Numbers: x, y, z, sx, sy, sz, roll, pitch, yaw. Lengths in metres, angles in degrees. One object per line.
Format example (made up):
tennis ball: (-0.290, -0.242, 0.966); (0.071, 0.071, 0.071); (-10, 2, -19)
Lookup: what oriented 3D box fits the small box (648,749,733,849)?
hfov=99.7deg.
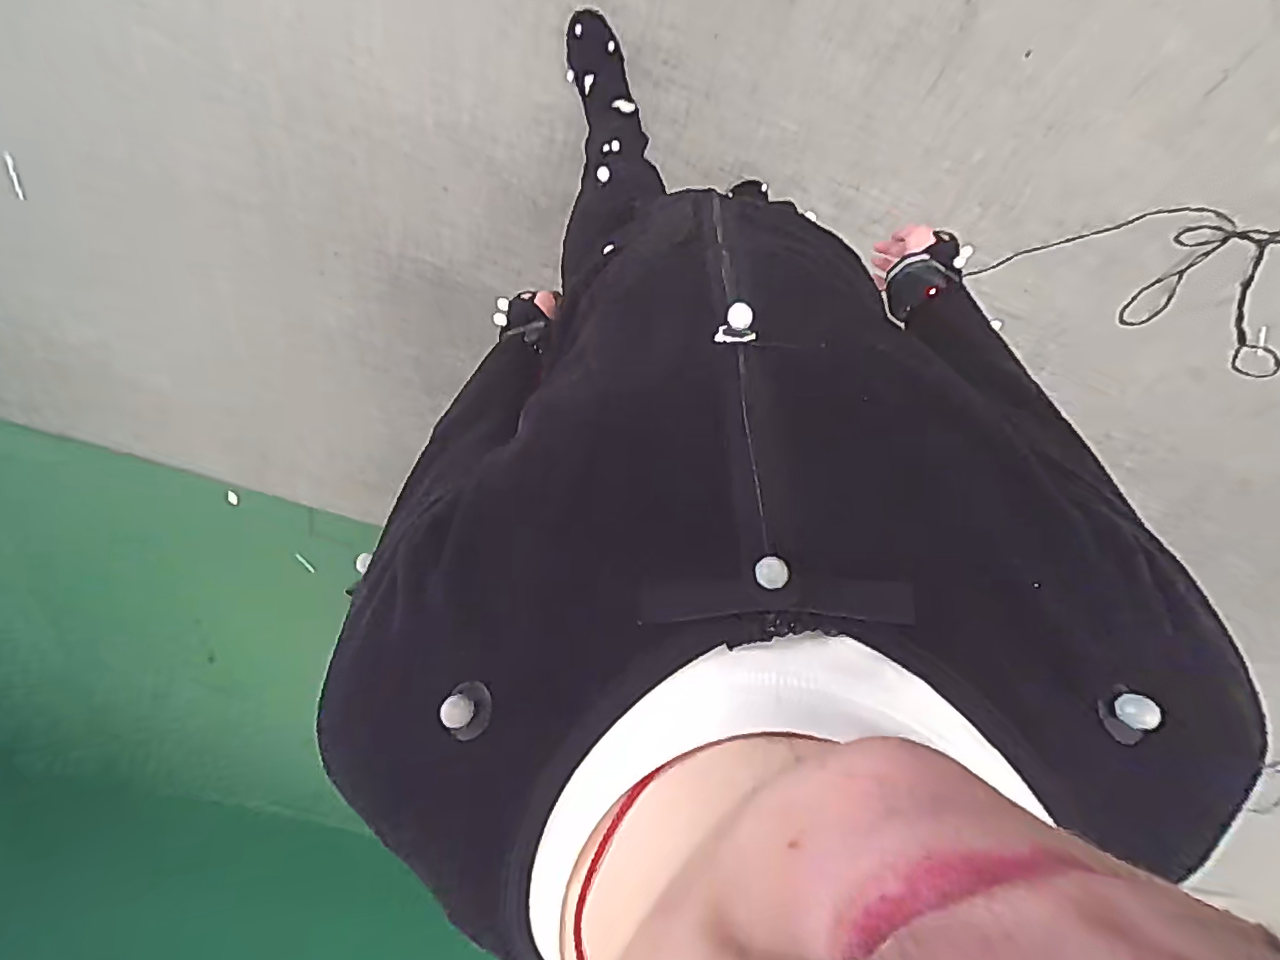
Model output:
small box: (0.132, 0.852, 1.449); (0.168, 0.176, 0.179); (21, 127, -11)
